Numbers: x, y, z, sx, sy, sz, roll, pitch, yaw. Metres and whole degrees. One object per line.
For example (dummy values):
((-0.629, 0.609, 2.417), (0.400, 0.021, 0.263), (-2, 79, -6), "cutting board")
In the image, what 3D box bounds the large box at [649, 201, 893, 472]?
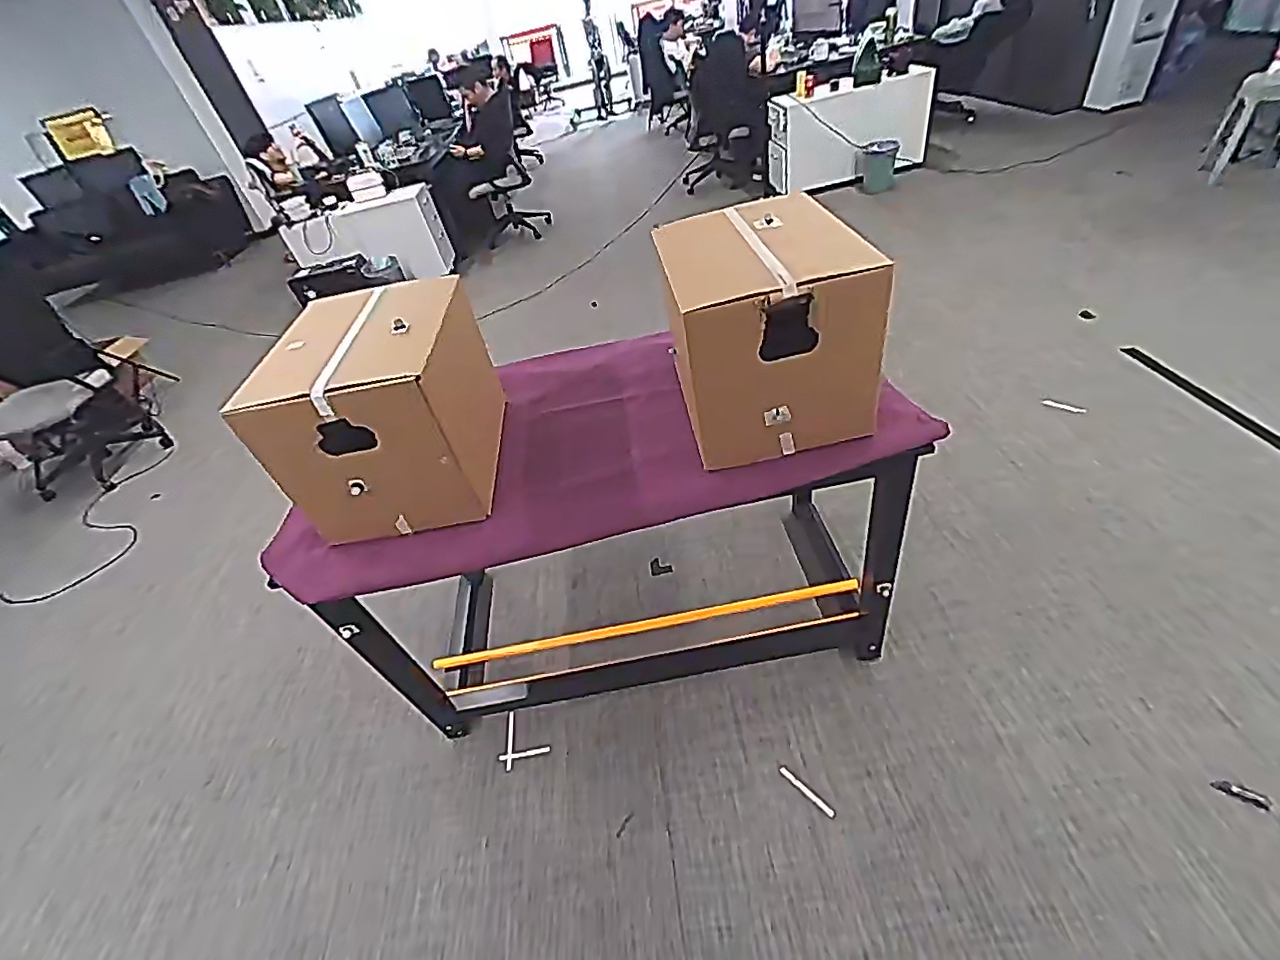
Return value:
((0.219, -0.277, 1.010), (0.320, 0.320, 0.408), (-12, 40, 2), "large box")
